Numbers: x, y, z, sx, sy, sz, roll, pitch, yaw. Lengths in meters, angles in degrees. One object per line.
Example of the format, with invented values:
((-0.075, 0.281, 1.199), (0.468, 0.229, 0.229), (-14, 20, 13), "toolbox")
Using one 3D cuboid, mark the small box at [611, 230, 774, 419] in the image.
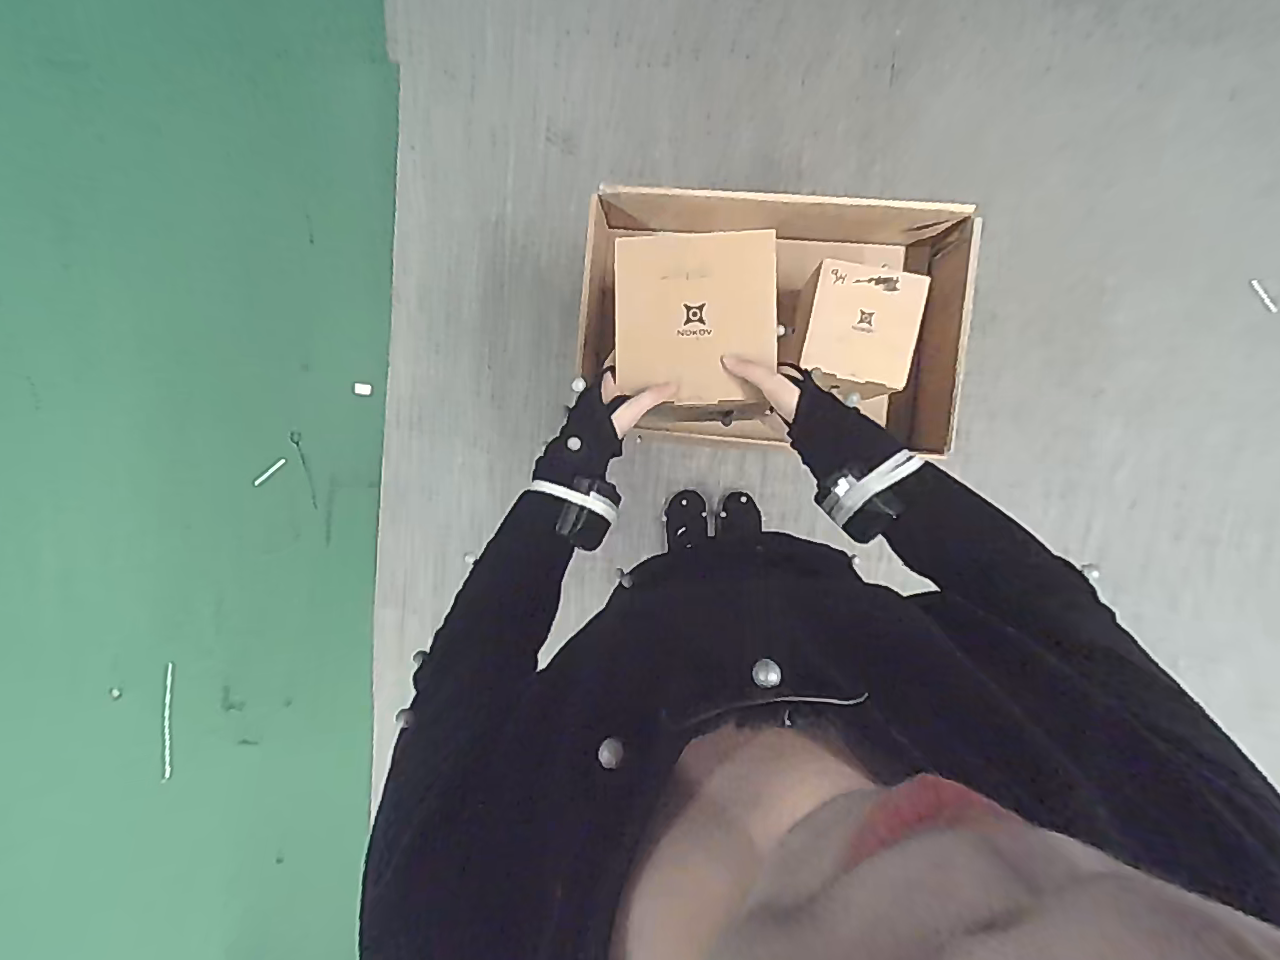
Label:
((0.061, -0.164, 0.627), (0.168, 0.176, 0.179), (0, 90, 6), "small box")
